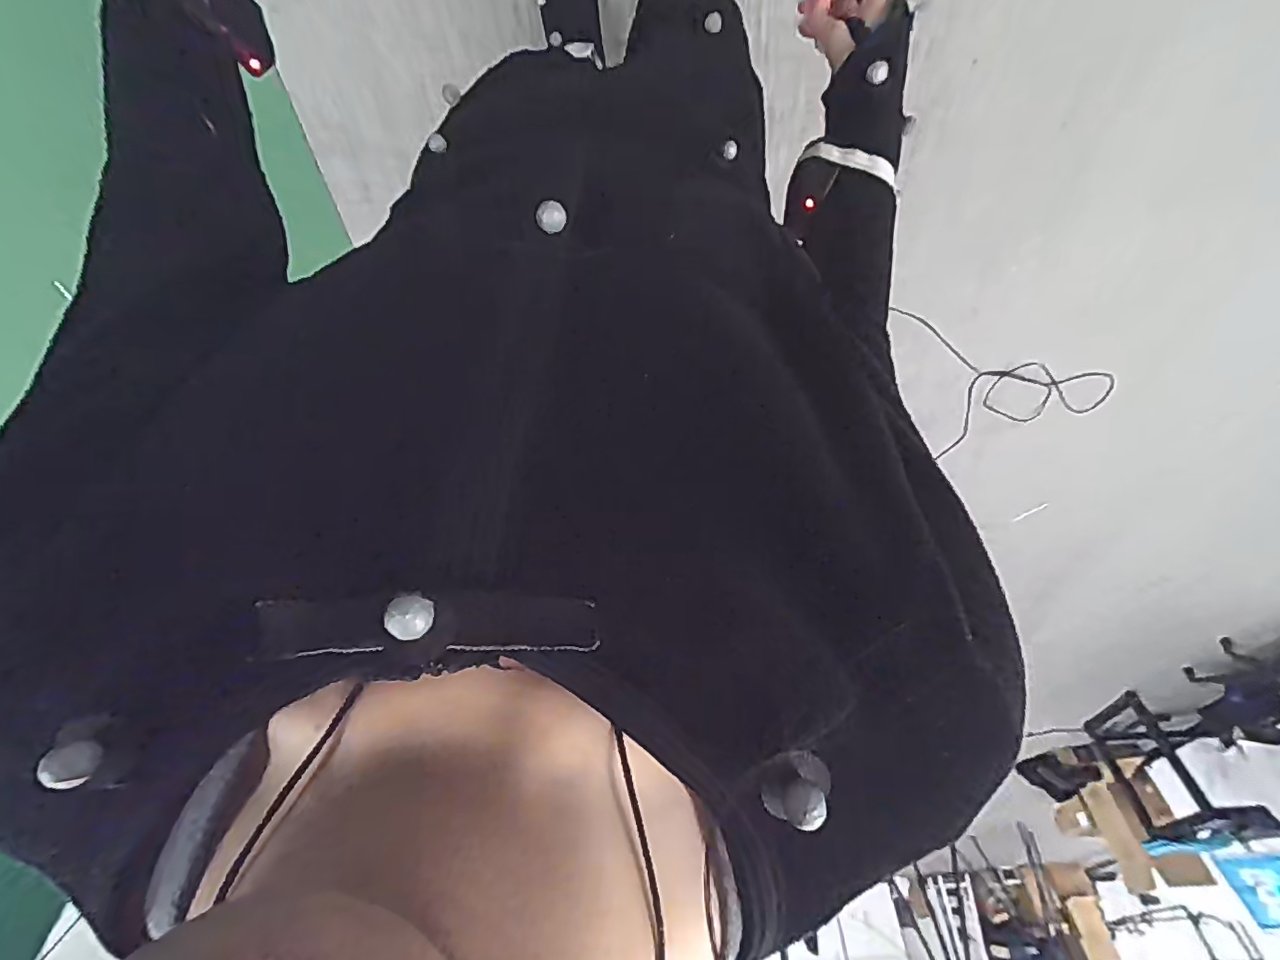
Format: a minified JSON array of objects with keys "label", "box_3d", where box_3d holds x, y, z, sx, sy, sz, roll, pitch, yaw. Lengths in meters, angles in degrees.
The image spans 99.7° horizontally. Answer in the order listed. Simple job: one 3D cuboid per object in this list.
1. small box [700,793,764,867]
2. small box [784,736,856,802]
[{"label":"small box","box_3d":[0.284,1.109,1.715,0.179,0.176,0.168,-4,136,1]},{"label":"small box","box_3d":[0.606,0.981,1.837,0.179,0.176,0.168,-1,136,1]}]
